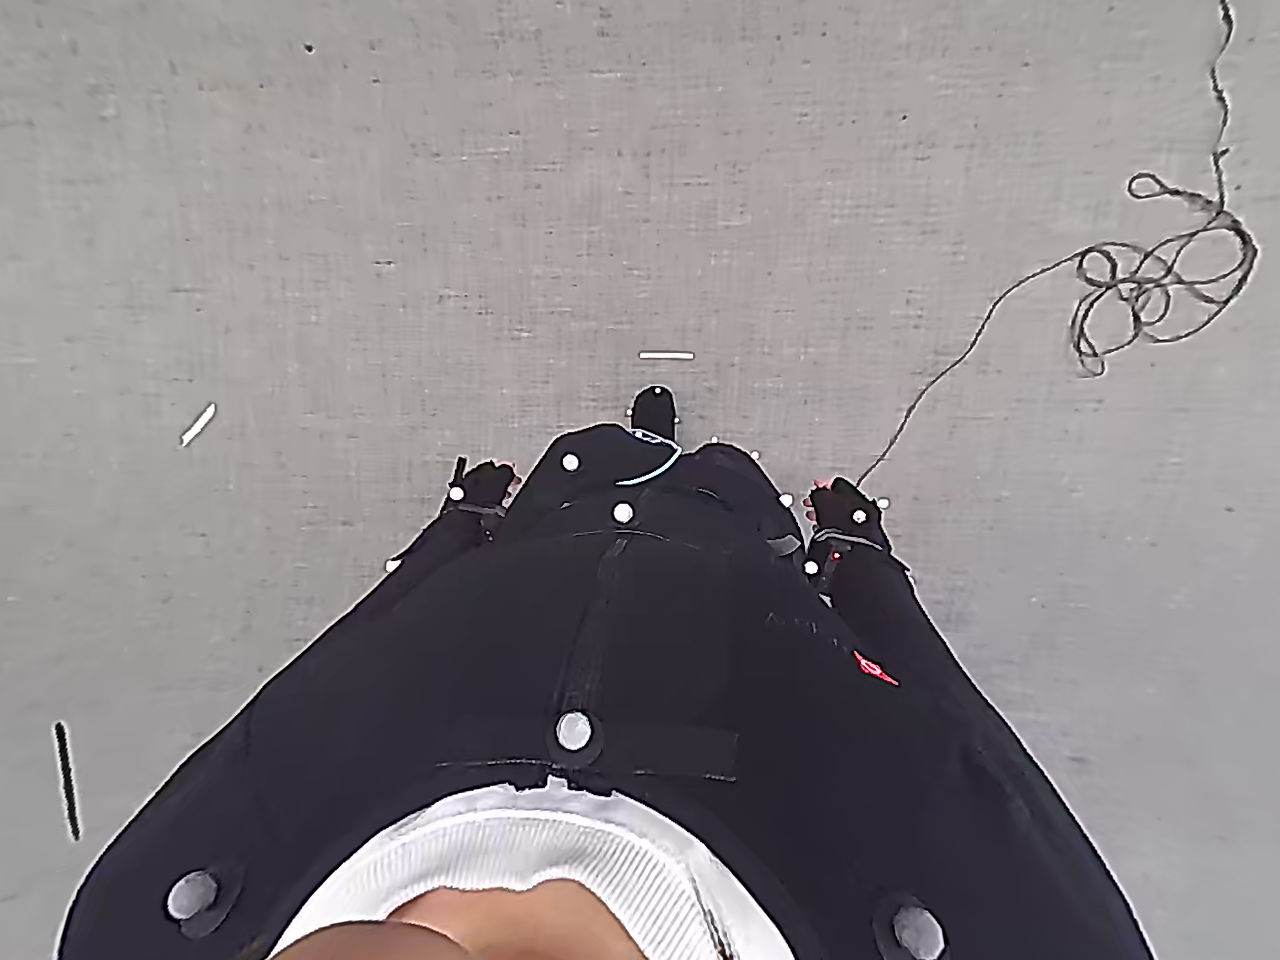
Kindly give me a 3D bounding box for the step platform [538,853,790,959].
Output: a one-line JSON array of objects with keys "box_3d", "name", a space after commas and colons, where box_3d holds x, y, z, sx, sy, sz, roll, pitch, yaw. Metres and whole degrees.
[{"box_3d": [0.064, 1.250, 1.497, 0.684, 0.204, 0.286, 0, 97, 5], "name": "step platform"}]
